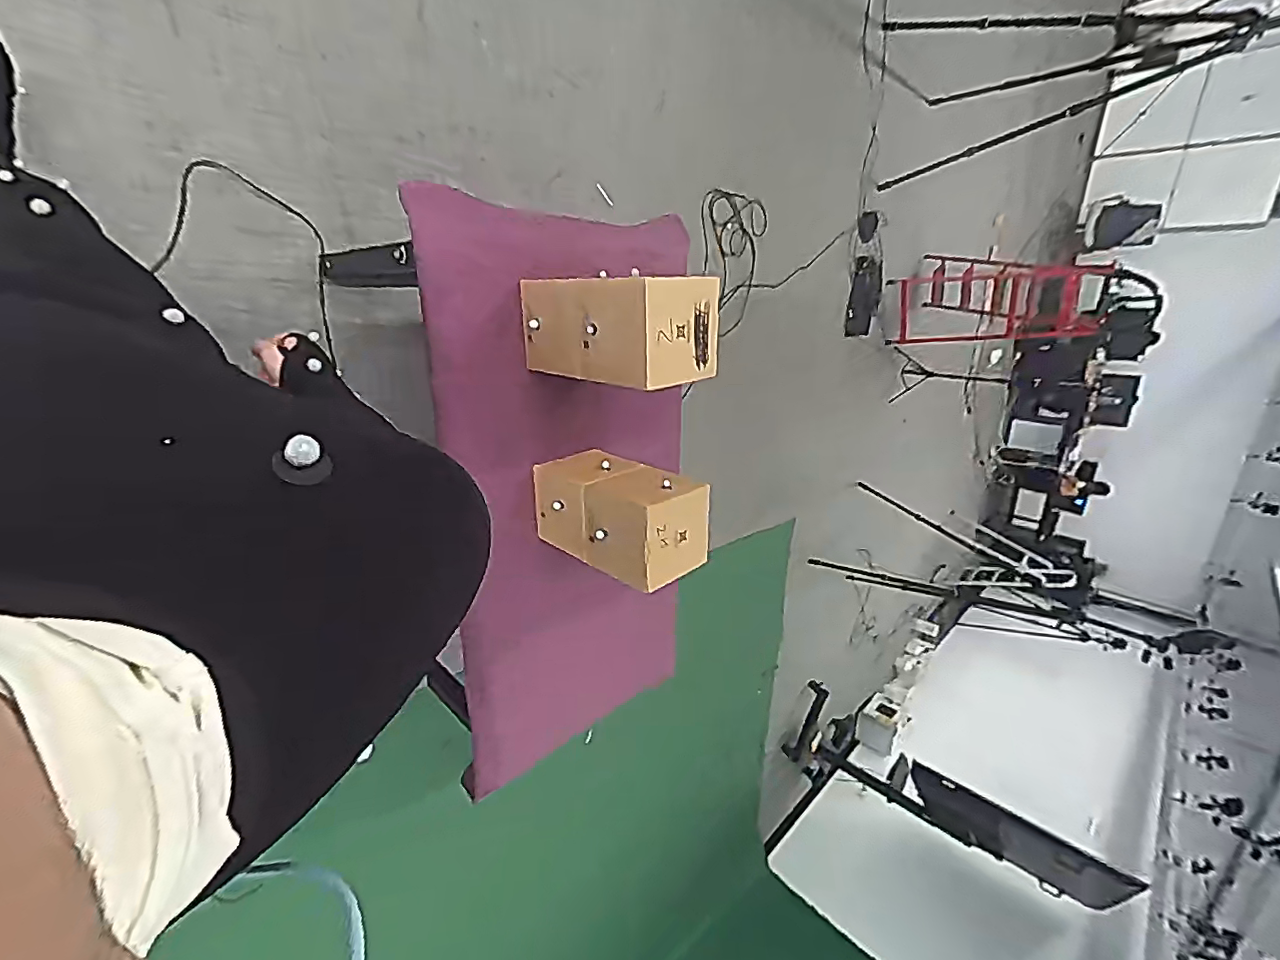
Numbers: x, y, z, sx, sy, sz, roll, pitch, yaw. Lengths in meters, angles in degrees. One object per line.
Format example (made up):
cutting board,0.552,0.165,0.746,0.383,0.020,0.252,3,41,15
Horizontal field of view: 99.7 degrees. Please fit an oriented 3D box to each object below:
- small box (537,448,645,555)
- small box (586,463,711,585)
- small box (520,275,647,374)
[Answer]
small box,-0.105,0.037,1.150,0.179,0.176,0.168,-20,117,-42
small box,0.016,0.074,1.044,0.179,0.176,0.168,-19,116,-42
small box,-0.105,-0.302,1.029,0.179,0.176,0.168,-20,117,-41
